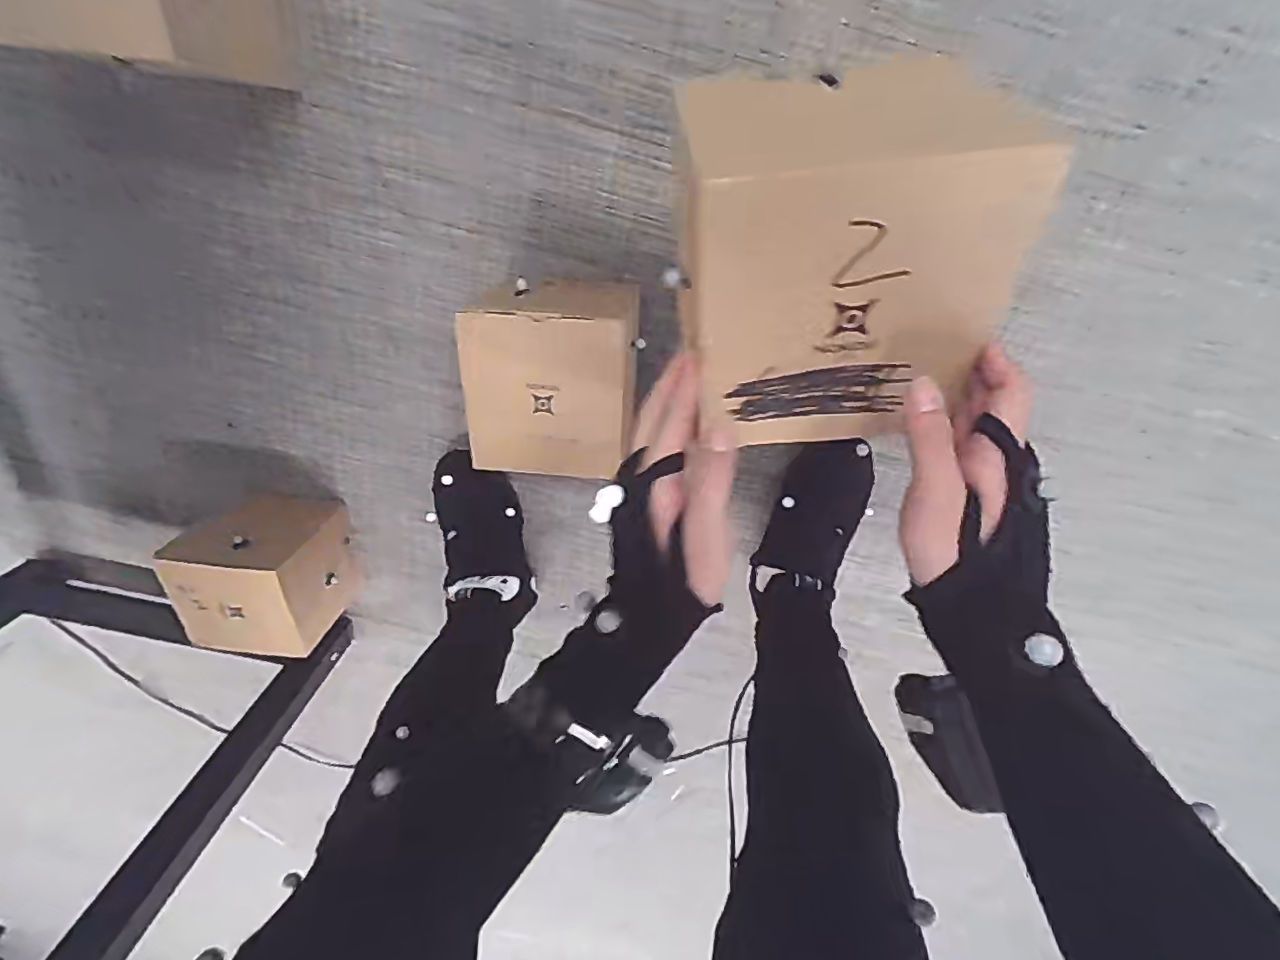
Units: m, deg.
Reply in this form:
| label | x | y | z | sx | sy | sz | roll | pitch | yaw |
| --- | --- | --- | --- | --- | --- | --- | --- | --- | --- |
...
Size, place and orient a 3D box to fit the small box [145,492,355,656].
| label | x | y | z | sx | sy | sz | roll | pitch | yaw |
| --- | --- | --- | --- | --- | --- | --- | --- | --- | --- |
| small box | -0.550 | 0.132 | 0.799 | 0.179 | 0.176 | 0.168 | 6 | 120 | 2 |

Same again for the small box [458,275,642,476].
| label | x | y | z | sx | sy | sz | roll | pitch | yaw |
| --- | --- | --- | --- | --- | --- | --- | --- | --- | --- |
| small box | -0.088 | -0.126 | 0.609 | 0.168 | 0.176 | 0.179 | 6 | 121 | 3 |

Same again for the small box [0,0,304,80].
| label | x | y | z | sx | sy | sz | roll | pitch | yaw |
| --- | --- | --- | --- | --- | --- | --- | --- | --- | --- |
| small box | -0.428 | -0.455 | 0.453 | 0.179 | 0.176 | 0.168 | 8 | 120 | 1 |
